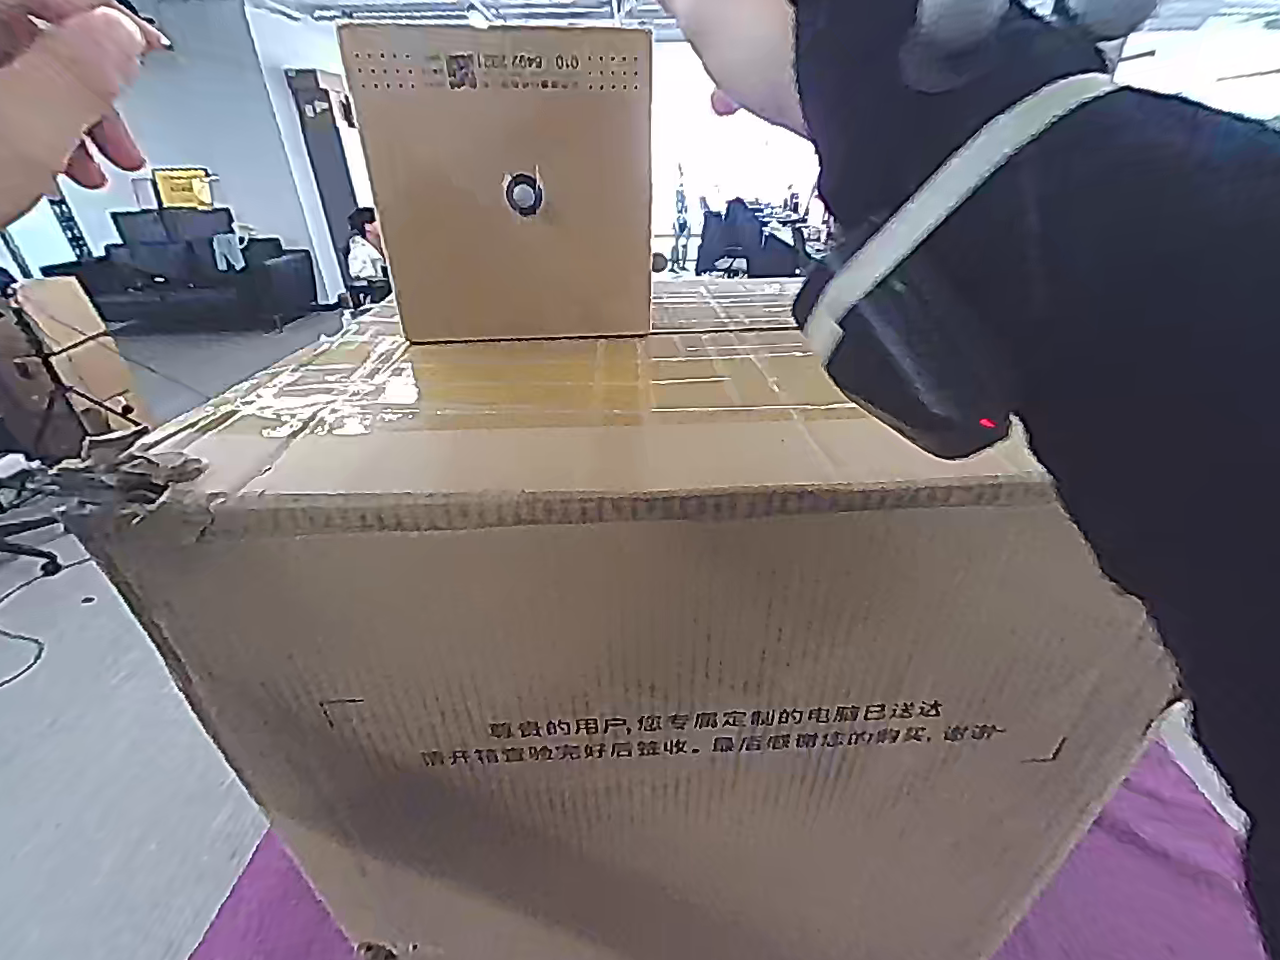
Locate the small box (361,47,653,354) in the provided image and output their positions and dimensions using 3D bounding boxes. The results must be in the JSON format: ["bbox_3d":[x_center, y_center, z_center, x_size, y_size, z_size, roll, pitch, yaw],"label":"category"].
[{"bbox_3d":[-0.083,-0.204,0.403,0.168,0.176,0.179,-3,31,-6],"label":"small box"}]
